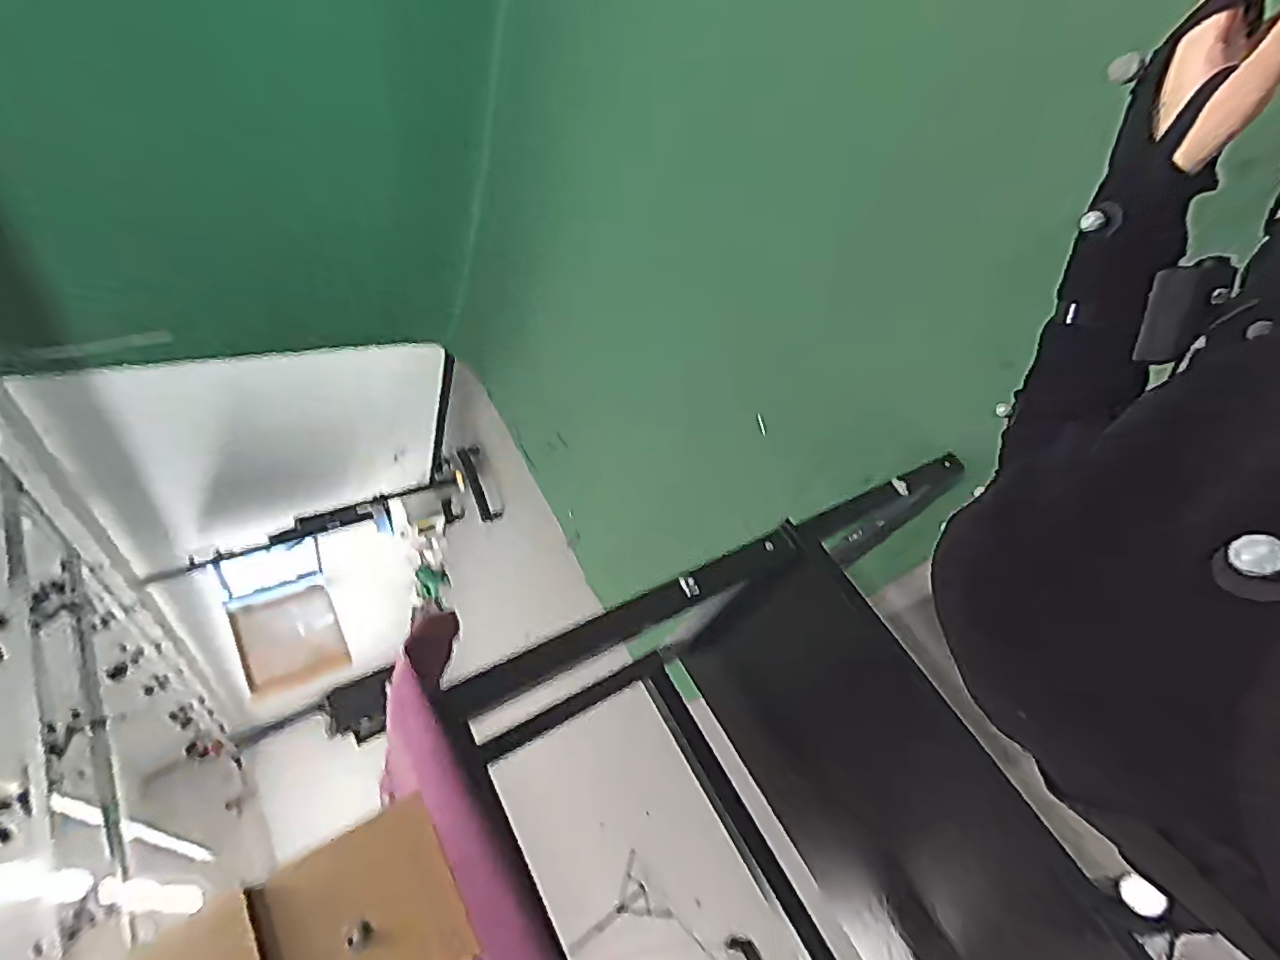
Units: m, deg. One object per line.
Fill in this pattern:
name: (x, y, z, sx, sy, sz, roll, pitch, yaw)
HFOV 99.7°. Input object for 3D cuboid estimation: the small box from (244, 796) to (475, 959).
small box: (-0.303, 0.478, 0.594, 0.179, 0.176, 0.168, 55, 141, 21)

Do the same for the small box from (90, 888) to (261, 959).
small box: (-0.424, 0.503, 0.483, 0.179, 0.176, 0.168, 55, 141, 22)
